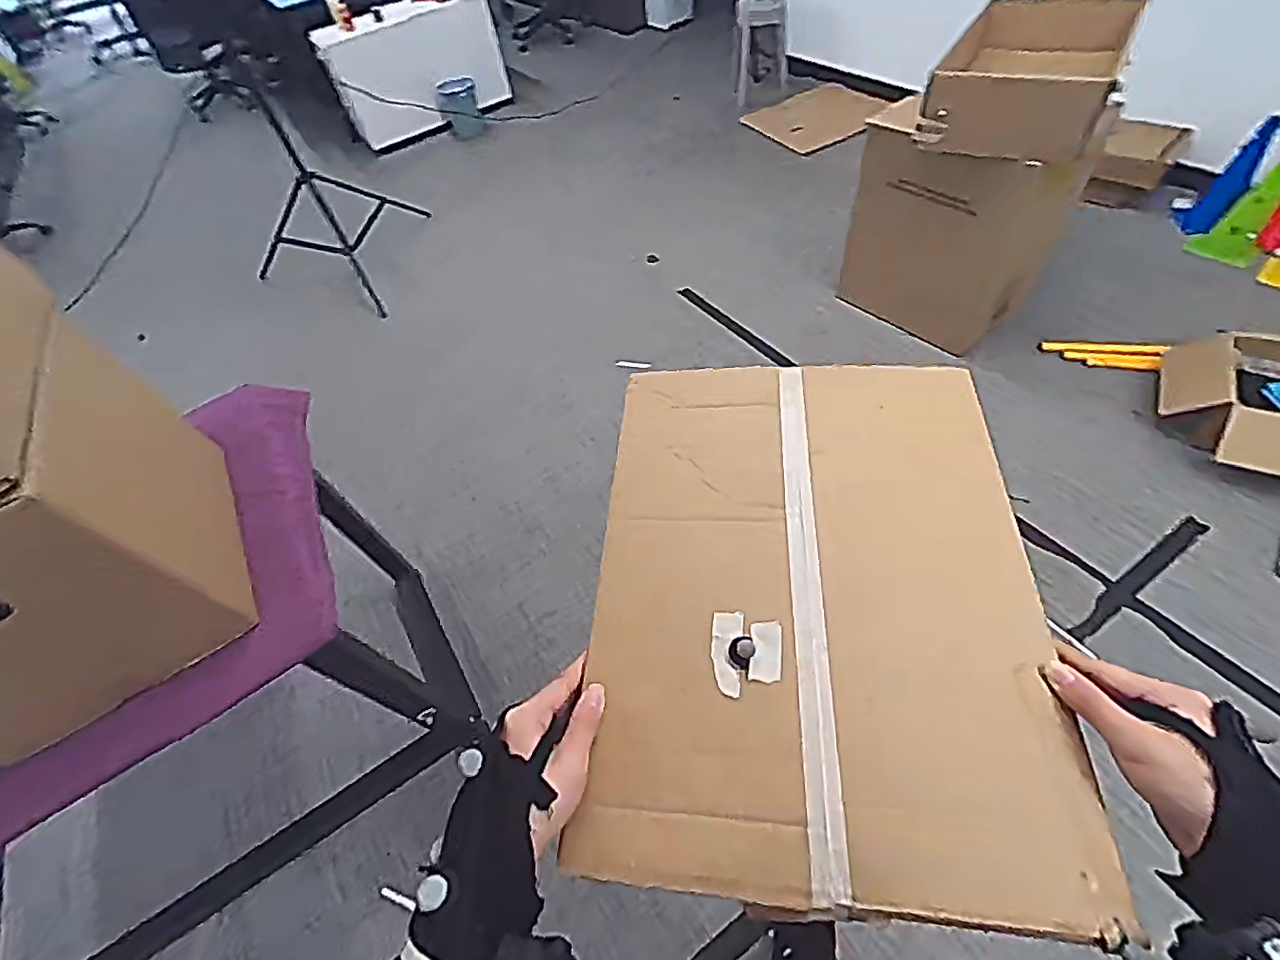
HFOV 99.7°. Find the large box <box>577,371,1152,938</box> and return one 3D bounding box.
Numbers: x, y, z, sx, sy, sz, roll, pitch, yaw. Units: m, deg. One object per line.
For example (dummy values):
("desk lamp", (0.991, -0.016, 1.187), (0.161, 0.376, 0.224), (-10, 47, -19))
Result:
("large box", (0.142, 0.147, 0.526), (0.320, 0.320, 0.408), (0, 57, 9))
